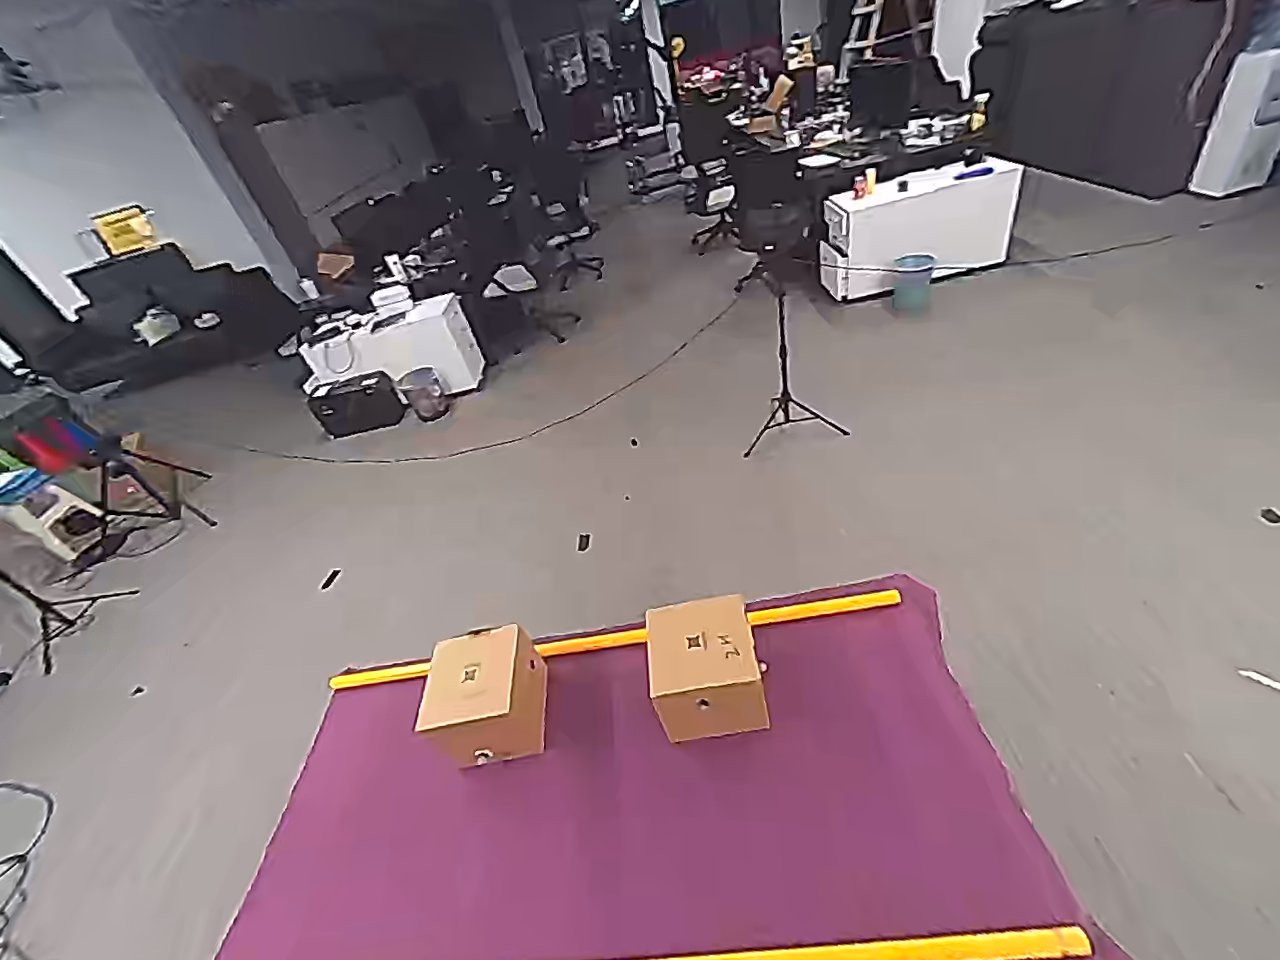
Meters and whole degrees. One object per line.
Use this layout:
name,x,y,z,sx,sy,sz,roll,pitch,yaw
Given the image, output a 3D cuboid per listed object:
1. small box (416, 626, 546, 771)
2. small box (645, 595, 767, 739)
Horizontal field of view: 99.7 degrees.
small box,-0.278,0.401,0.995,0.168,0.176,0.179,-13,39,5
small box,0.113,0.329,0.940,0.179,0.176,0.168,-11,40,6
